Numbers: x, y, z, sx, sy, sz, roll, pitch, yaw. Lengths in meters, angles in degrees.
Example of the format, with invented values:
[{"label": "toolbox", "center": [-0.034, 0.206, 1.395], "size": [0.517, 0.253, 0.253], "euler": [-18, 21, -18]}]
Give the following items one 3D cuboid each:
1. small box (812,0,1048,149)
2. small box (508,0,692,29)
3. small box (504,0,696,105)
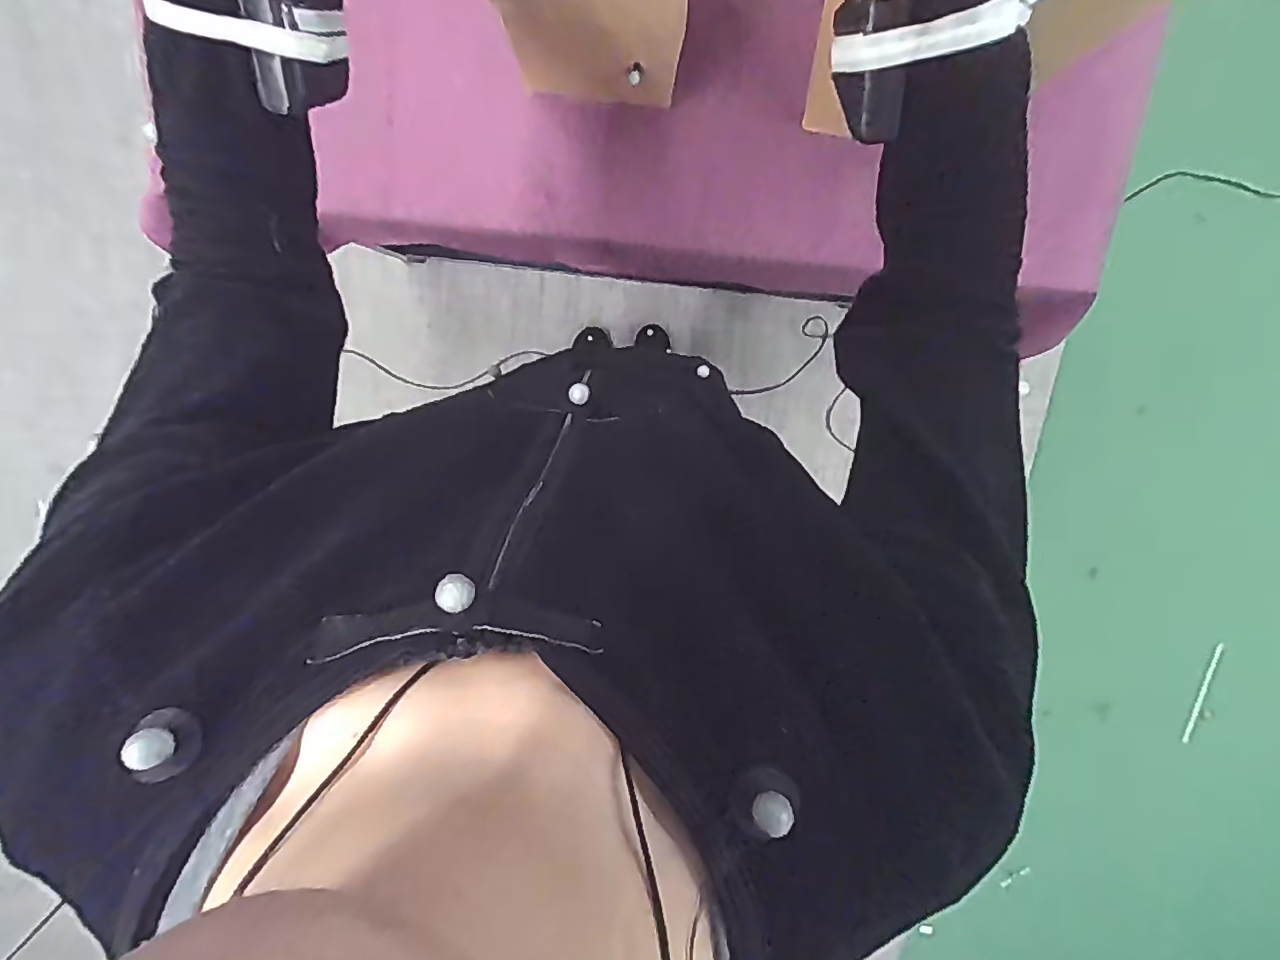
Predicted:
[{"label": "small box", "center": [0.300, -0.484, 0.578], "size": [0.168, 0.176, 0.179], "euler": [7, 103, -4]}, {"label": "small box", "center": [-0.031, -0.478, 0.396], "size": [0.179, 0.176, 0.168], "euler": [6, 103, -3]}, {"label": "small box", "center": [-0.033, -0.517, 0.555], "size": [0.179, 0.176, 0.168], "euler": [5, 103, -3]}]
